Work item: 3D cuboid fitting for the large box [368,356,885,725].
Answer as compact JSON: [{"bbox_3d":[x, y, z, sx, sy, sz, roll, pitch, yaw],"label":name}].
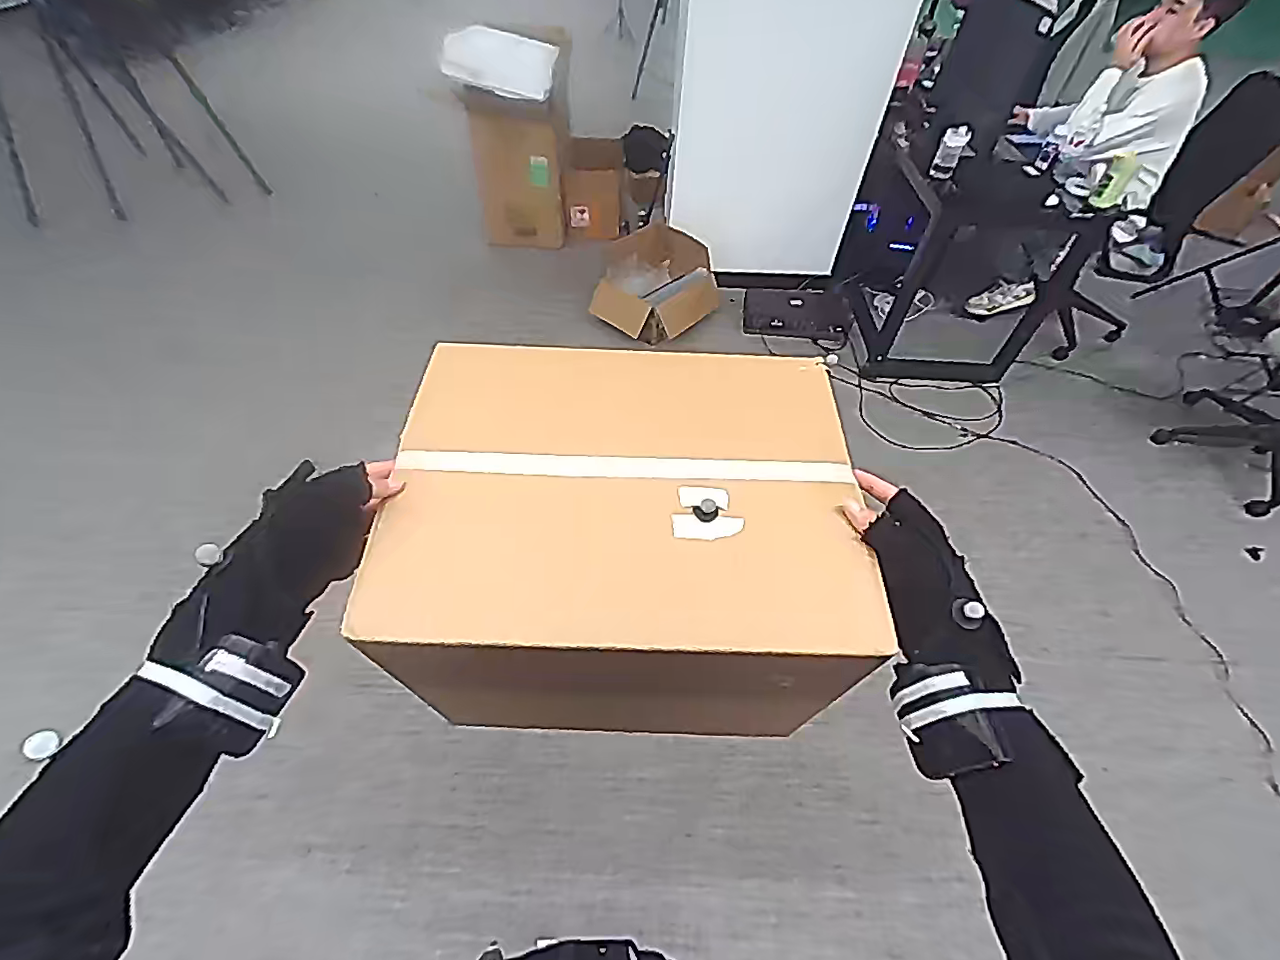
[{"bbox_3d":[-0.015,0.083,0.614,0.408,0.320,0.320,2,55,-2],"label":"large box"}]
